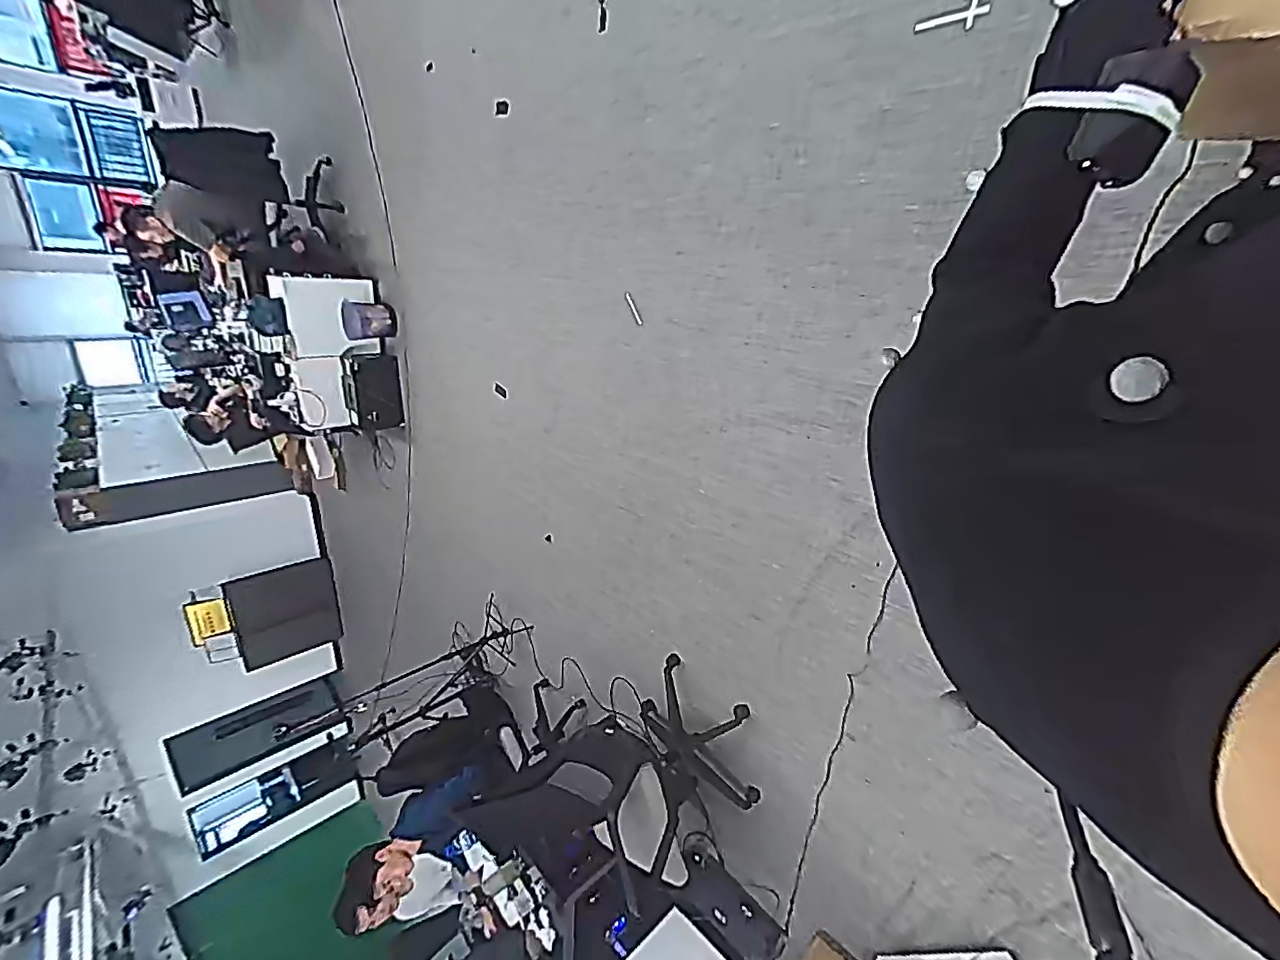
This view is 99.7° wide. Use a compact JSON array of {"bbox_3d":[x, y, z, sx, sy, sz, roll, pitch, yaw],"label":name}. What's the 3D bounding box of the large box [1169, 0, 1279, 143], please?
[{"bbox_3d":[0.611,-0.393,0.287,0.408,0.320,0.320,27,122,37],"label":"large box"}]
